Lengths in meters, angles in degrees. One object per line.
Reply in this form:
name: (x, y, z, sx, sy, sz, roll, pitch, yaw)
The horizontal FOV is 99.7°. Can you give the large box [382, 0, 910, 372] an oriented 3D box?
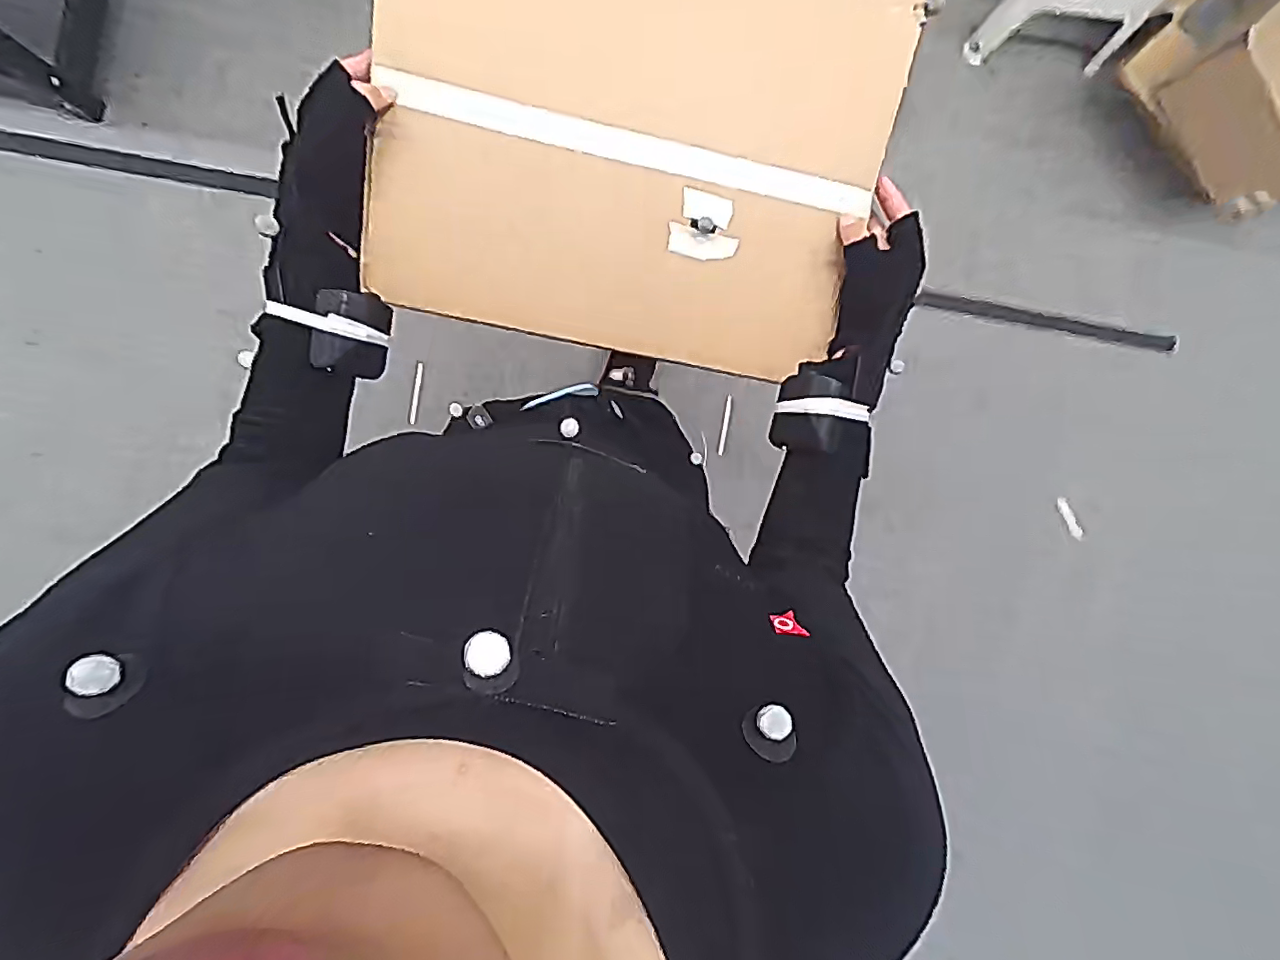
large box: (-0.016, -0.314, 0.588, 0.408, 0.320, 0.320, 9, 106, -8)
